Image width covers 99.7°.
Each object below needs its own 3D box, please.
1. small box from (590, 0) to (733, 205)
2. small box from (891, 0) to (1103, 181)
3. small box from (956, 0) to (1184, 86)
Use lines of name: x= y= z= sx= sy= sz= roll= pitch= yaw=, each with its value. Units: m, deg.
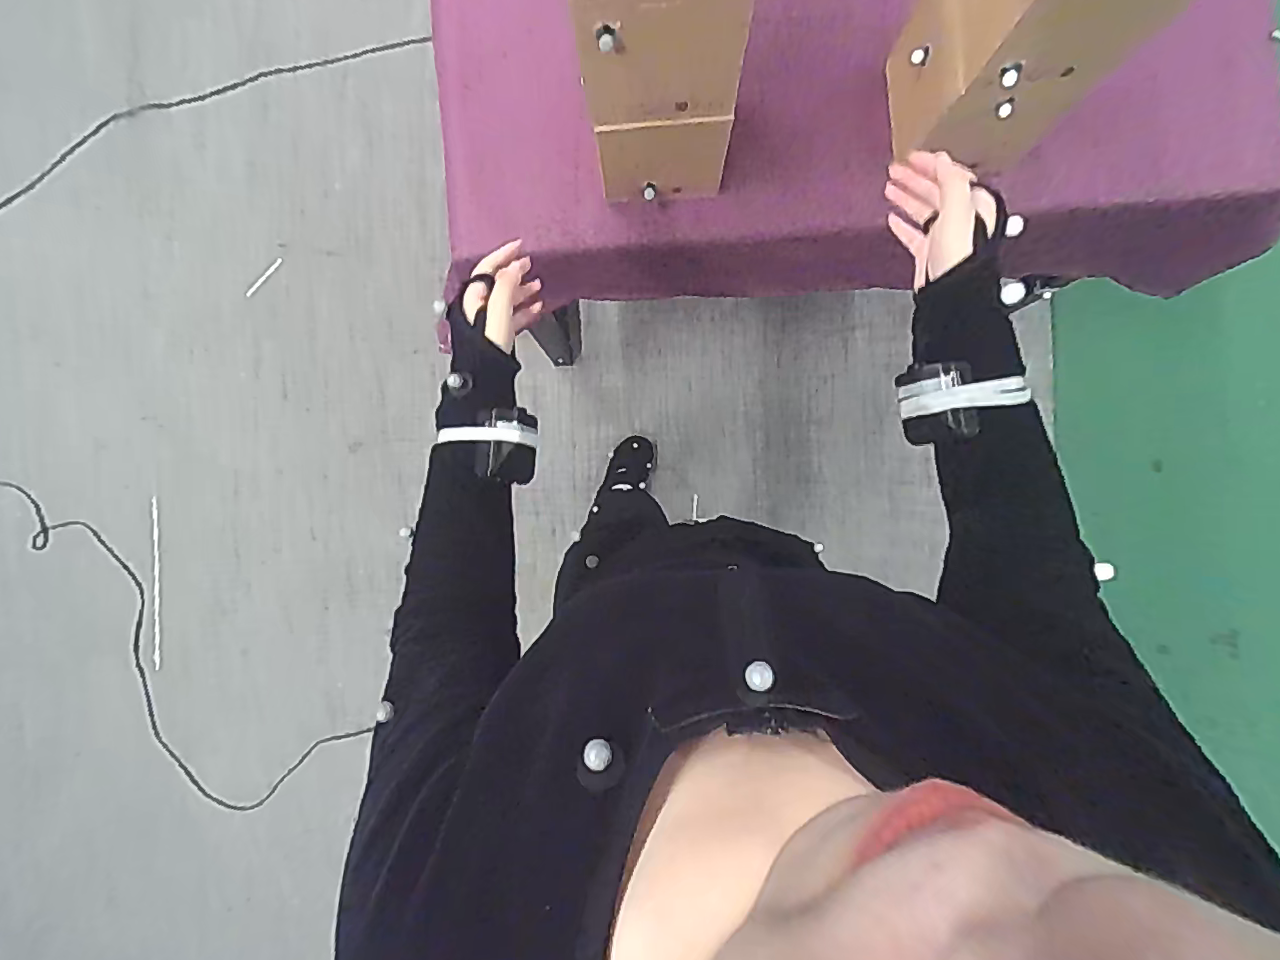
small box: x=0.026 y=-0.494 z=0.712 sx=0.168 sy=0.176 sz=0.179 roll=-3 pitch=89 yaw=2
small box: x=0.445 y=-0.527 z=0.703 sx=0.168 sy=0.176 sz=0.179 roll=-4 pitch=88 yaw=2
small box: x=0.442 y=-0.532 z=0.539 sx=0.168 sy=0.176 sz=0.179 roll=-5 pitch=88 yaw=1
